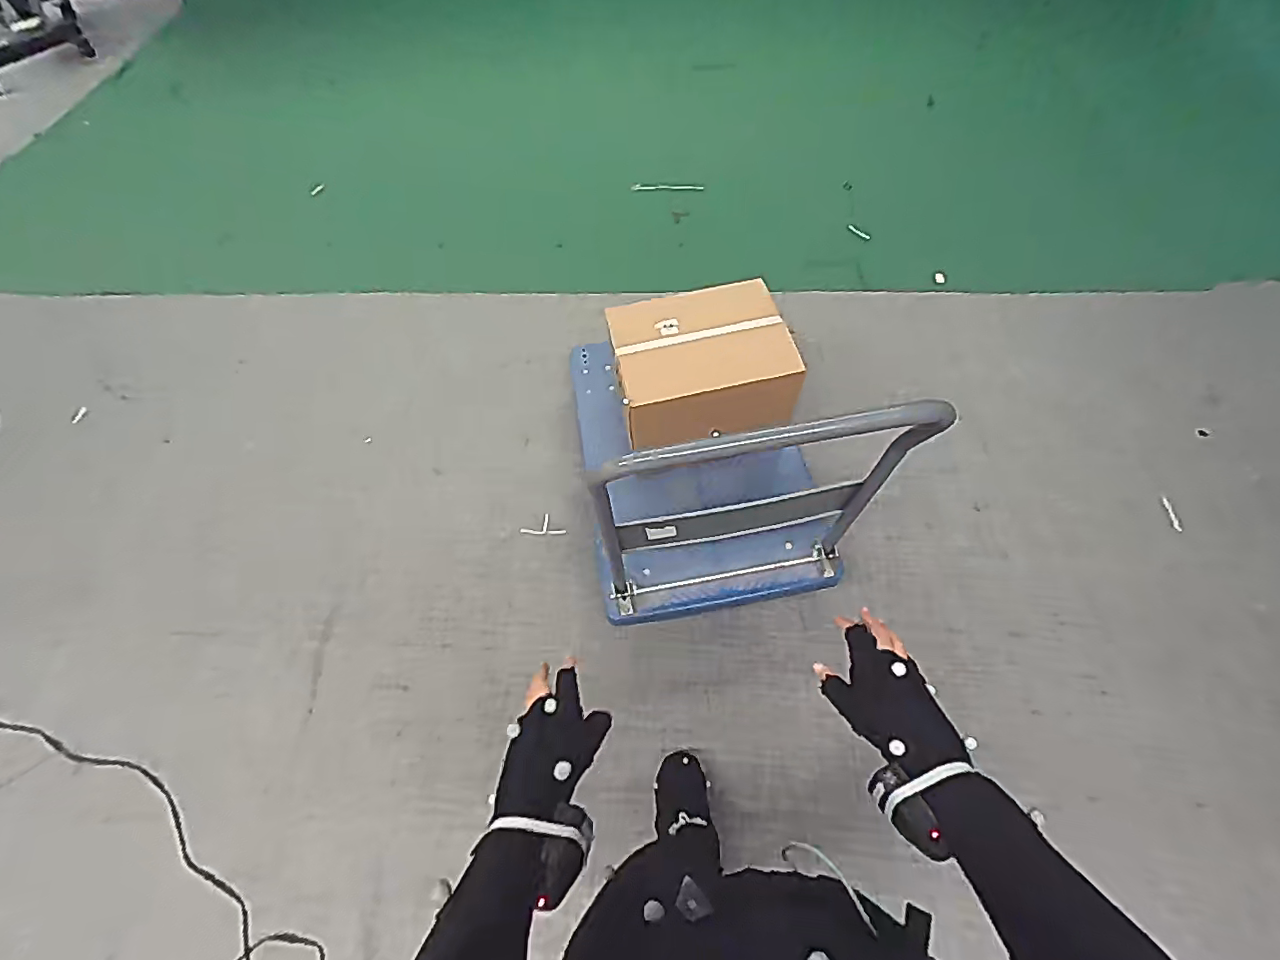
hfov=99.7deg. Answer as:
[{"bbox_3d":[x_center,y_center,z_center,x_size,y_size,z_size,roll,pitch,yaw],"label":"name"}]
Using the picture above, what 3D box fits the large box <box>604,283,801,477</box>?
[{"bbox_3d":[0.149,-0.248,1.398,0.408,0.320,0.320,-13,60,-2],"label":"large box"}]
